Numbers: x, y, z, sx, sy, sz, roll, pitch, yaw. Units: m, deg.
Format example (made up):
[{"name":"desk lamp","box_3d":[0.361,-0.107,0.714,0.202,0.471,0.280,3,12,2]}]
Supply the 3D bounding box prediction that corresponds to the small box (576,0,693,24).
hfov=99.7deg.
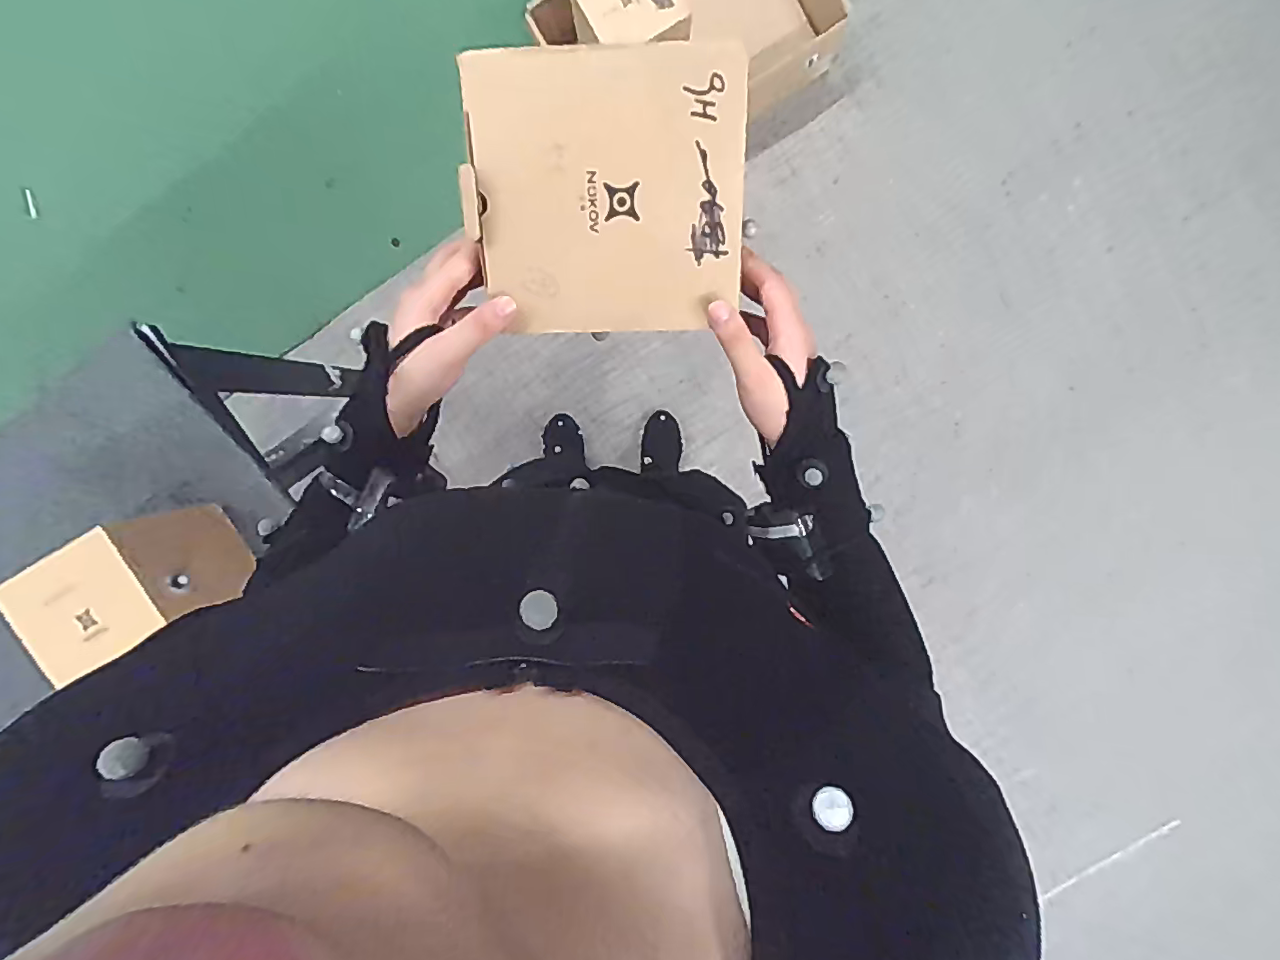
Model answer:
[{"name":"small box","box_3d":[-0.016,-0.904,1.060,0.179,0.176,0.168,-31,96,5]}]

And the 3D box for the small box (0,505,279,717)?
[{"name":"small box","box_3d":[-0.615,0.152,0.685,0.168,0.176,0.179,-29,95,4]}]

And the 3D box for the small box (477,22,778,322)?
[{"name":"small box","box_3d":[-0.006,-0.212,0.411,0.179,0.176,0.168,0,111,1]}]
